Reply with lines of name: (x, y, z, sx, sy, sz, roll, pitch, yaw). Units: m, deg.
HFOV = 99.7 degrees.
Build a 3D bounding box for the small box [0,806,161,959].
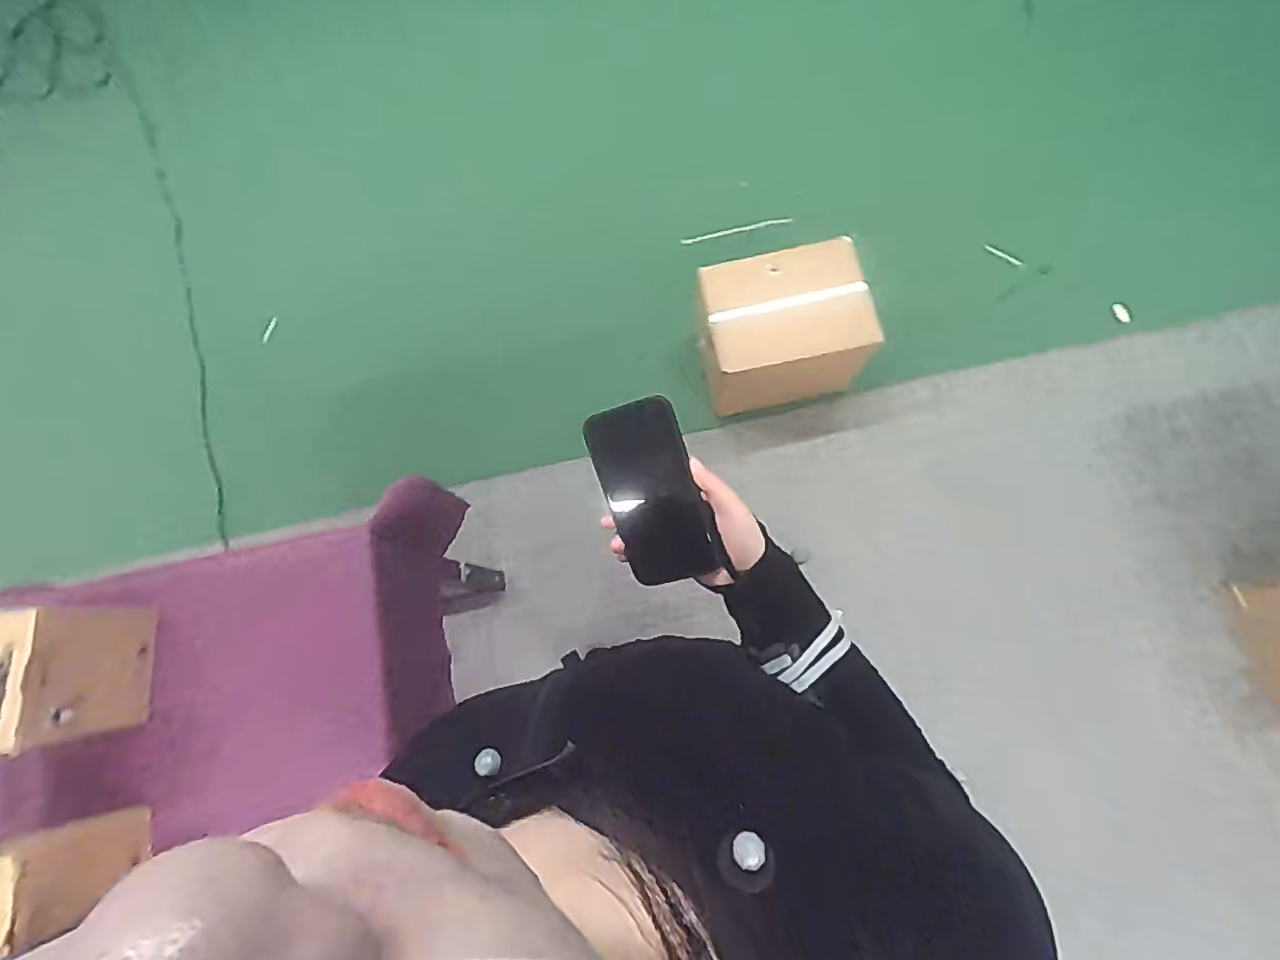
small box: (-0.764, 0.543, 0.682, 0.179, 0.176, 0.168, -14, 75, 0)
